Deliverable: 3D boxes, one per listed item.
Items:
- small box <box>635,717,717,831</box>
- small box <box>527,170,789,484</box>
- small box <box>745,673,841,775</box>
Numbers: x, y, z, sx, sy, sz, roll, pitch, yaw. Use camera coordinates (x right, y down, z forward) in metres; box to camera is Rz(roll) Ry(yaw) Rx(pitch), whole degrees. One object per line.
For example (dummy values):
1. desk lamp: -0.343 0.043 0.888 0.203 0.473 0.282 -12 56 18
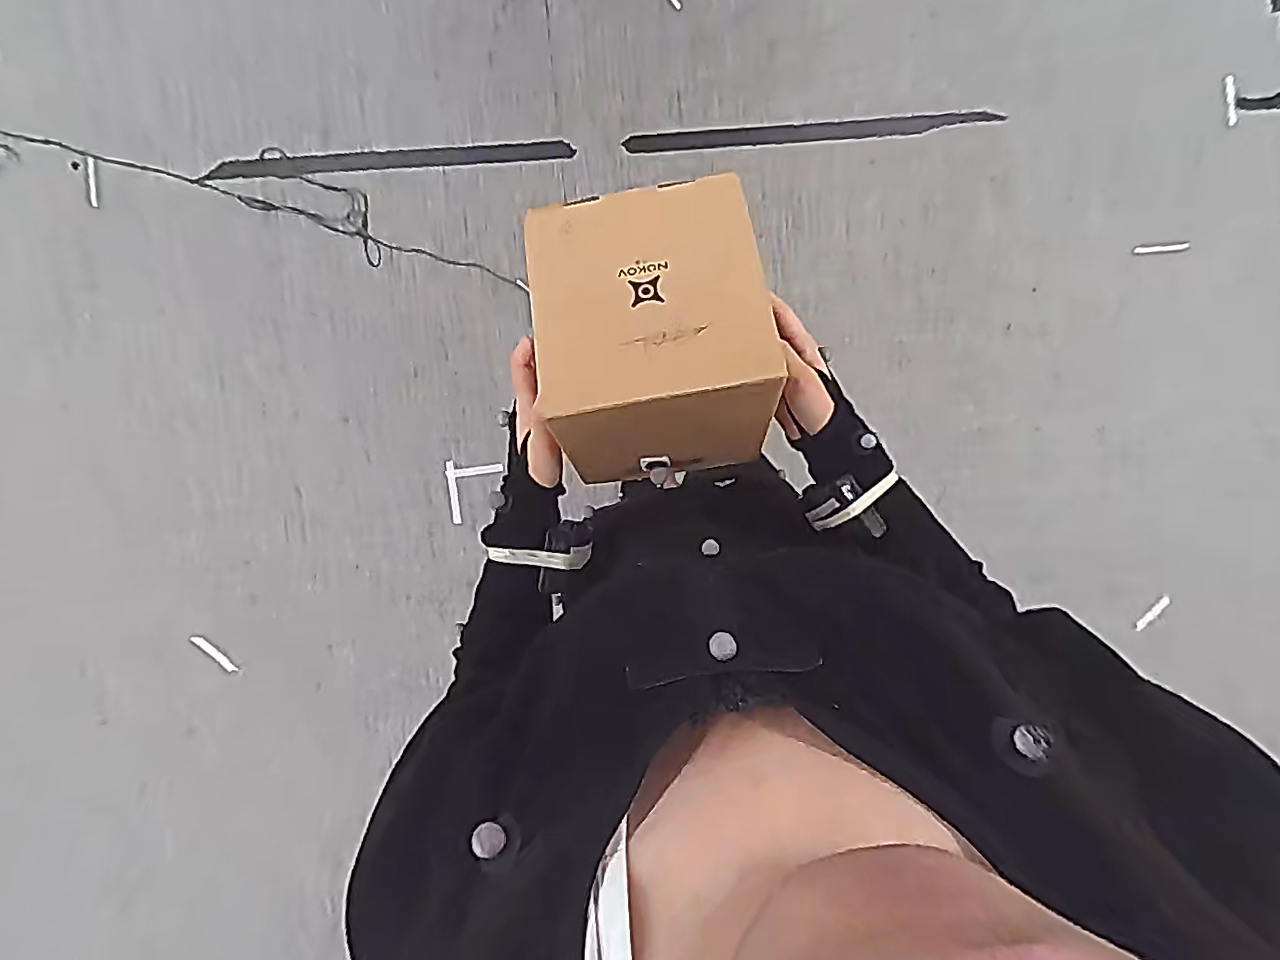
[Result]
1. small box: 0.078 0.671 1.261 0.168 0.176 0.179 -6 92 -1
2. small box: 0.012 -0.112 0.453 0.168 0.176 0.179 -10 73 3
3. small box: 0.399 0.636 1.433 0.179 0.176 0.168 -17 91 -1
